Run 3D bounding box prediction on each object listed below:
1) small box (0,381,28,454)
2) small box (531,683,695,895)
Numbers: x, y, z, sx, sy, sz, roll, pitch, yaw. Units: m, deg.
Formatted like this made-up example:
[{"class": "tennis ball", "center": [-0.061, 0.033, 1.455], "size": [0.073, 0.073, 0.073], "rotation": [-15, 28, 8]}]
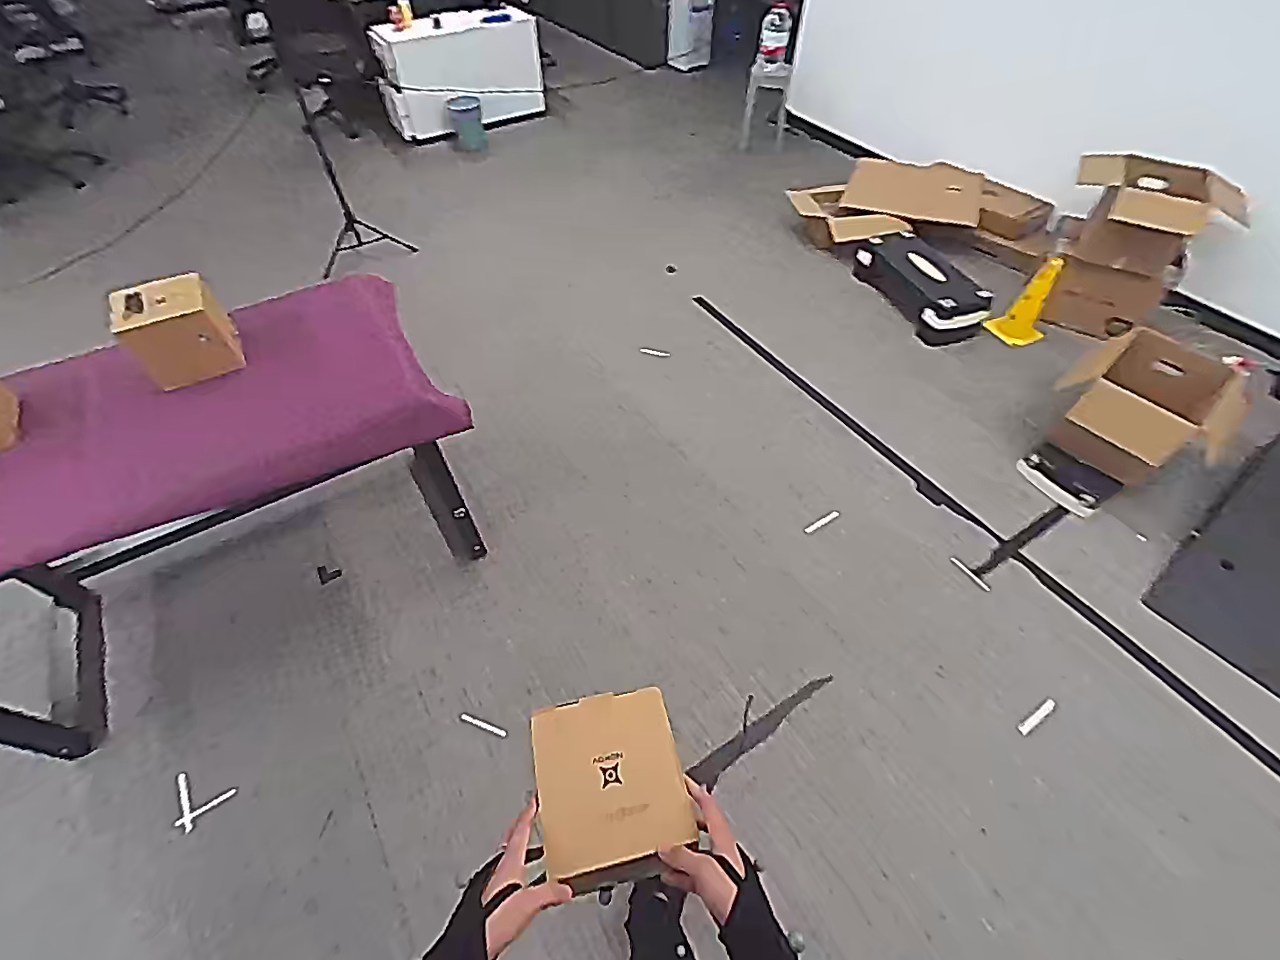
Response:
[{"class": "small box", "center": [-1.437, -0.143, 1.117], "size": [0.168, 0.176, 0.179], "rotation": [-27, 57, -20]}, {"class": "small box", "center": [-0.046, 0.384, 0.676], "size": [0.168, 0.176, 0.179], "rotation": [-6, 48, -13]}]
